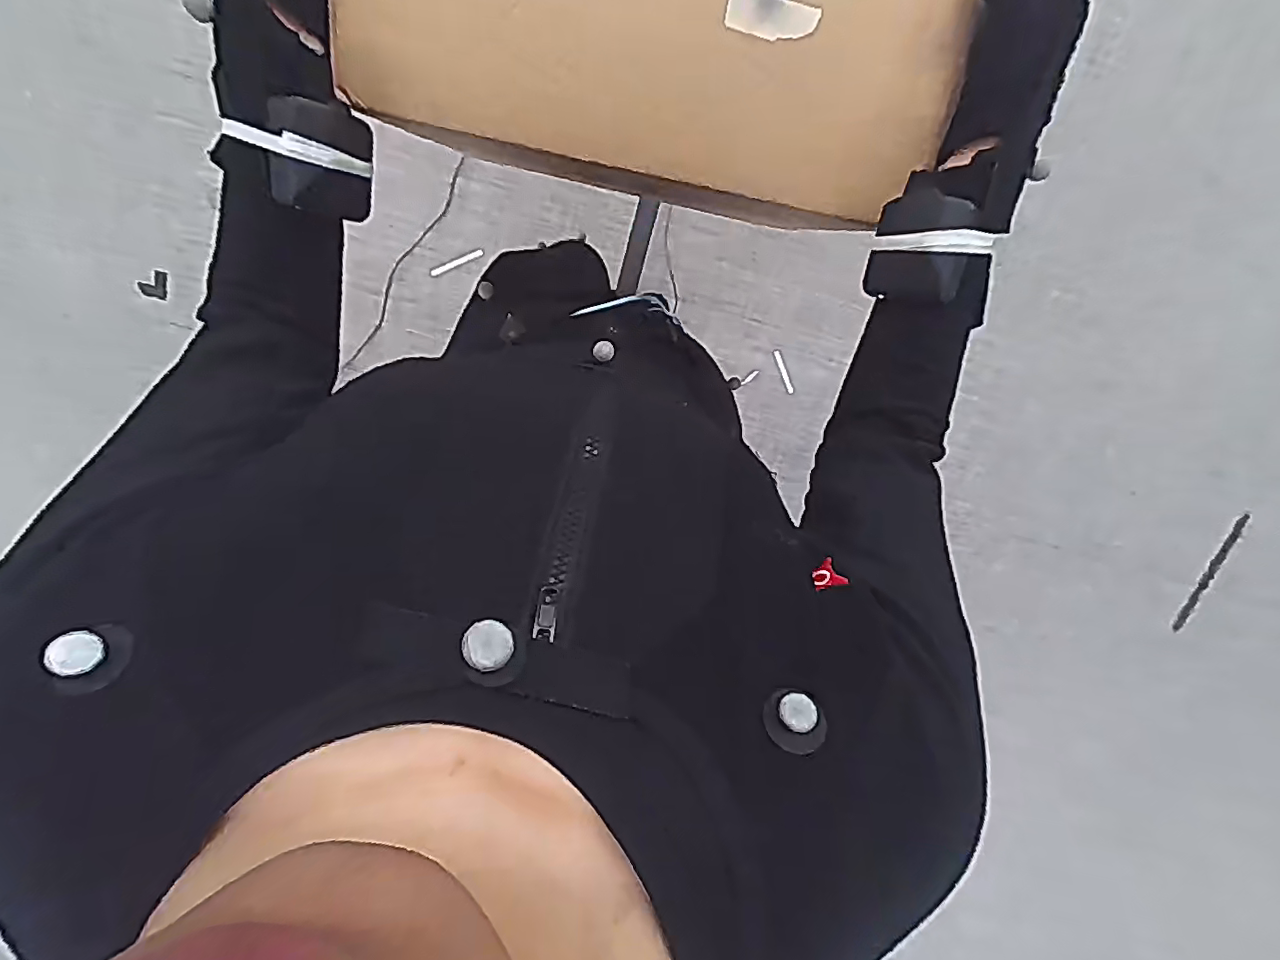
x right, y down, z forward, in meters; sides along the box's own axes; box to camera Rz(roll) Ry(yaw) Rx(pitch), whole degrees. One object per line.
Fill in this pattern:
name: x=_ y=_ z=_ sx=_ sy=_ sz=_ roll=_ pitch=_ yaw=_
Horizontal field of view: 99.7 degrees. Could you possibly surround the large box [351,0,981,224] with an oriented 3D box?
large box: x=0.024 y=-0.419 z=0.456 sx=0.408 sy=0.320 sz=0.320 roll=9 pitch=116 yaw=-6
